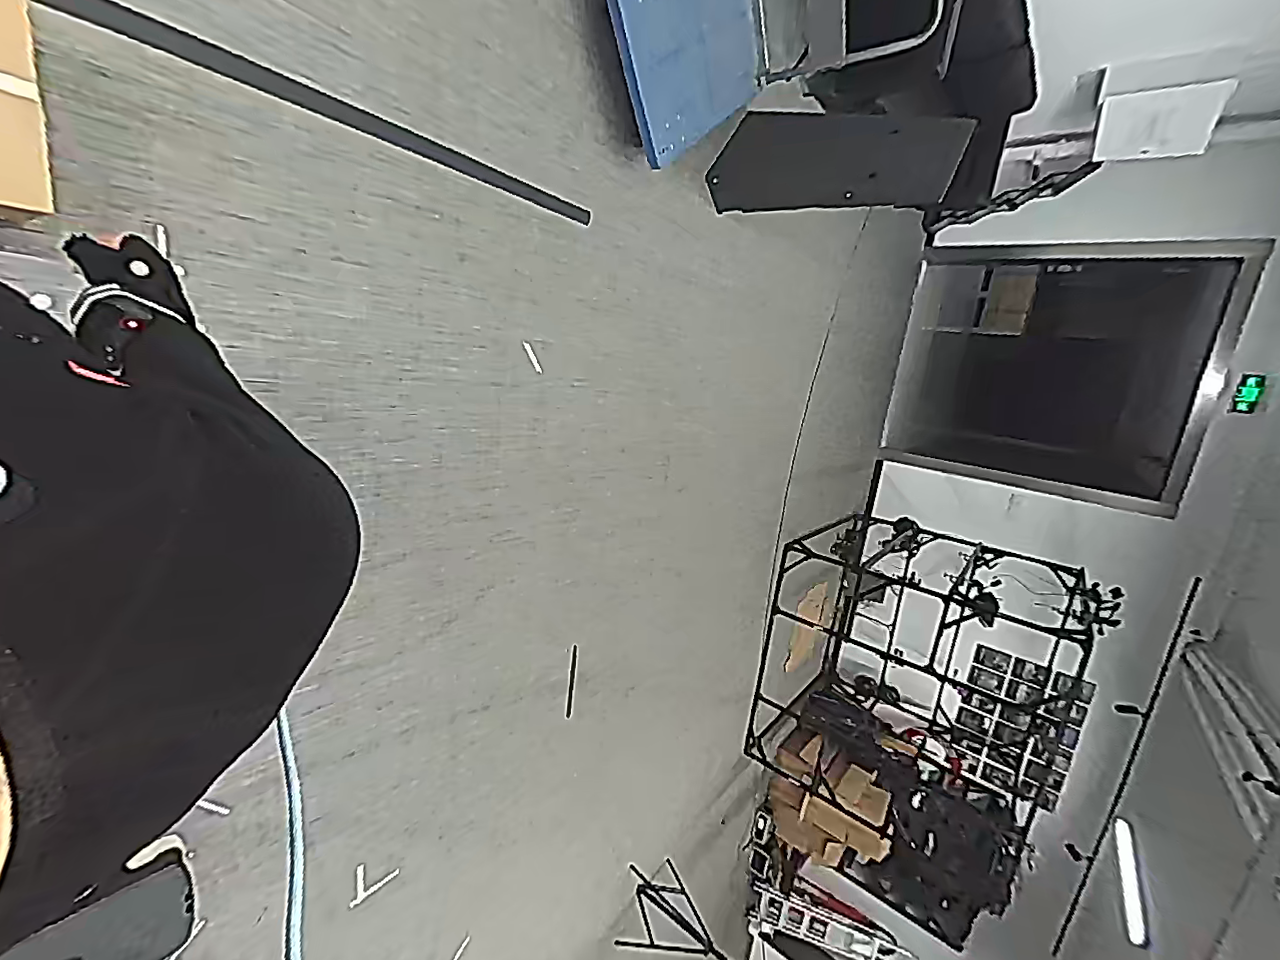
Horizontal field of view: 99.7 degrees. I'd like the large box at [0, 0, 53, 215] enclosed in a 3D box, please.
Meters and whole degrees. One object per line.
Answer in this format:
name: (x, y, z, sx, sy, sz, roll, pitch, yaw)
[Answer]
large box: (-1.079, -0.554, 0.679, 0.408, 0.320, 0.320, -12, 113, -53)
